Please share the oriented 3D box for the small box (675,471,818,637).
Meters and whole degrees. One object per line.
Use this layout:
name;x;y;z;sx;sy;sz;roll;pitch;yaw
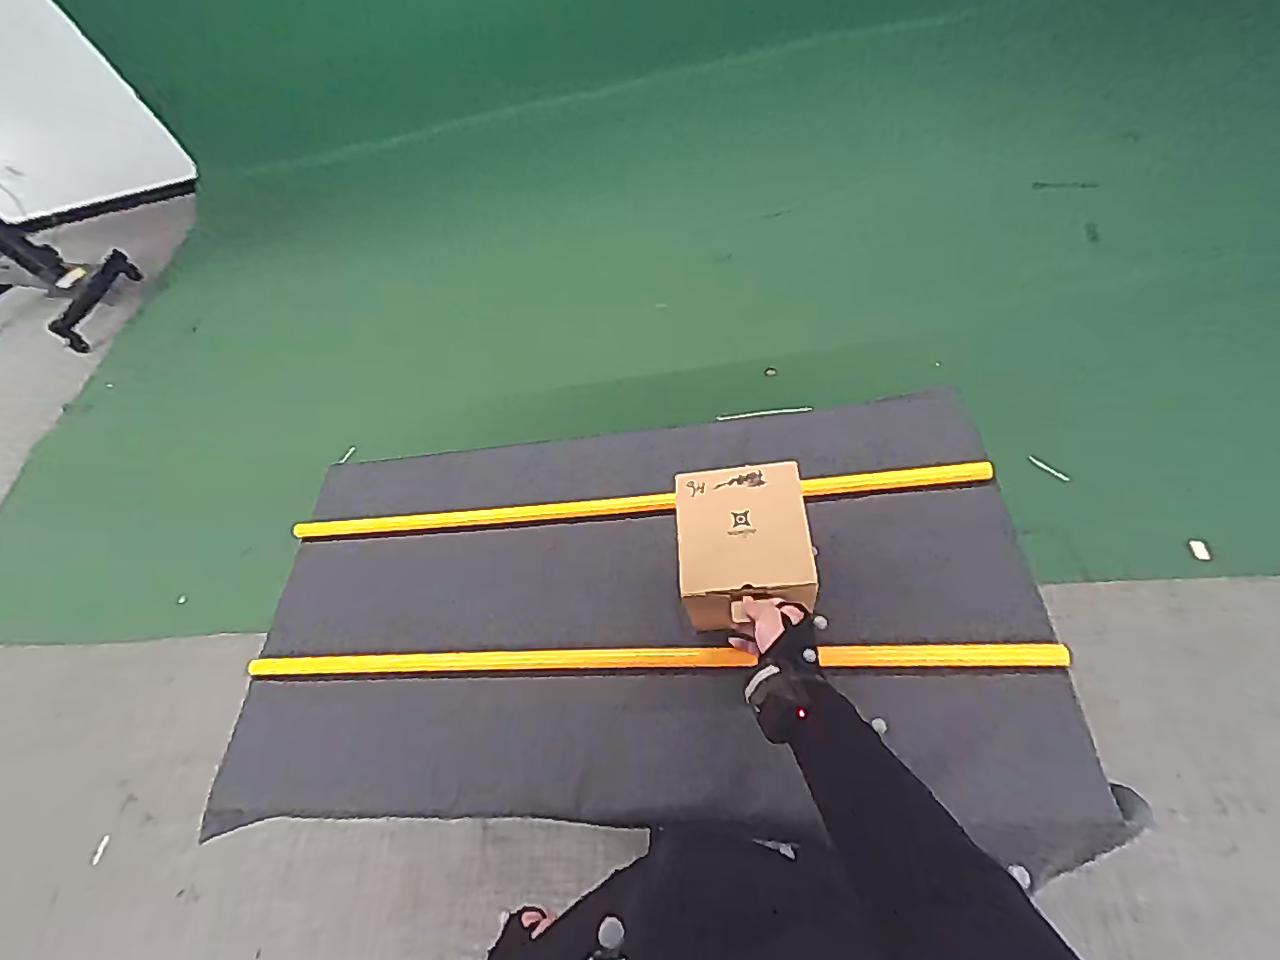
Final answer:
small box;0.151;0.114;0.761;0.168;0.176;0.179;-10;57;11
